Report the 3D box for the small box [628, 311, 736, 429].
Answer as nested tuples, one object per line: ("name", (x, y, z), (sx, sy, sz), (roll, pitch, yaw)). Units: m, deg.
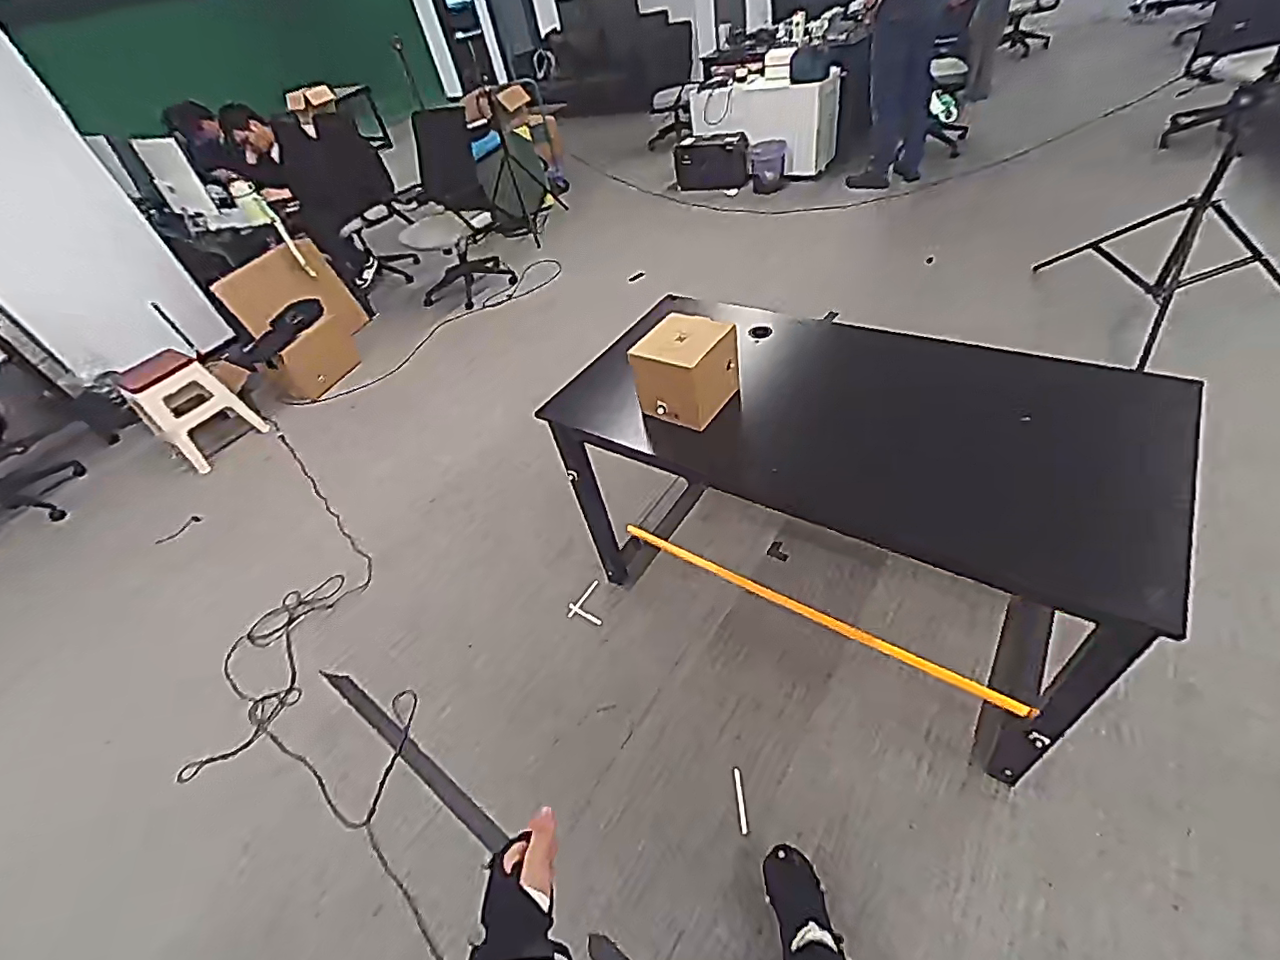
("small box", (0.100, -0.240, 1.179), (0.168, 0.176, 0.179), (20, 55, 31))
